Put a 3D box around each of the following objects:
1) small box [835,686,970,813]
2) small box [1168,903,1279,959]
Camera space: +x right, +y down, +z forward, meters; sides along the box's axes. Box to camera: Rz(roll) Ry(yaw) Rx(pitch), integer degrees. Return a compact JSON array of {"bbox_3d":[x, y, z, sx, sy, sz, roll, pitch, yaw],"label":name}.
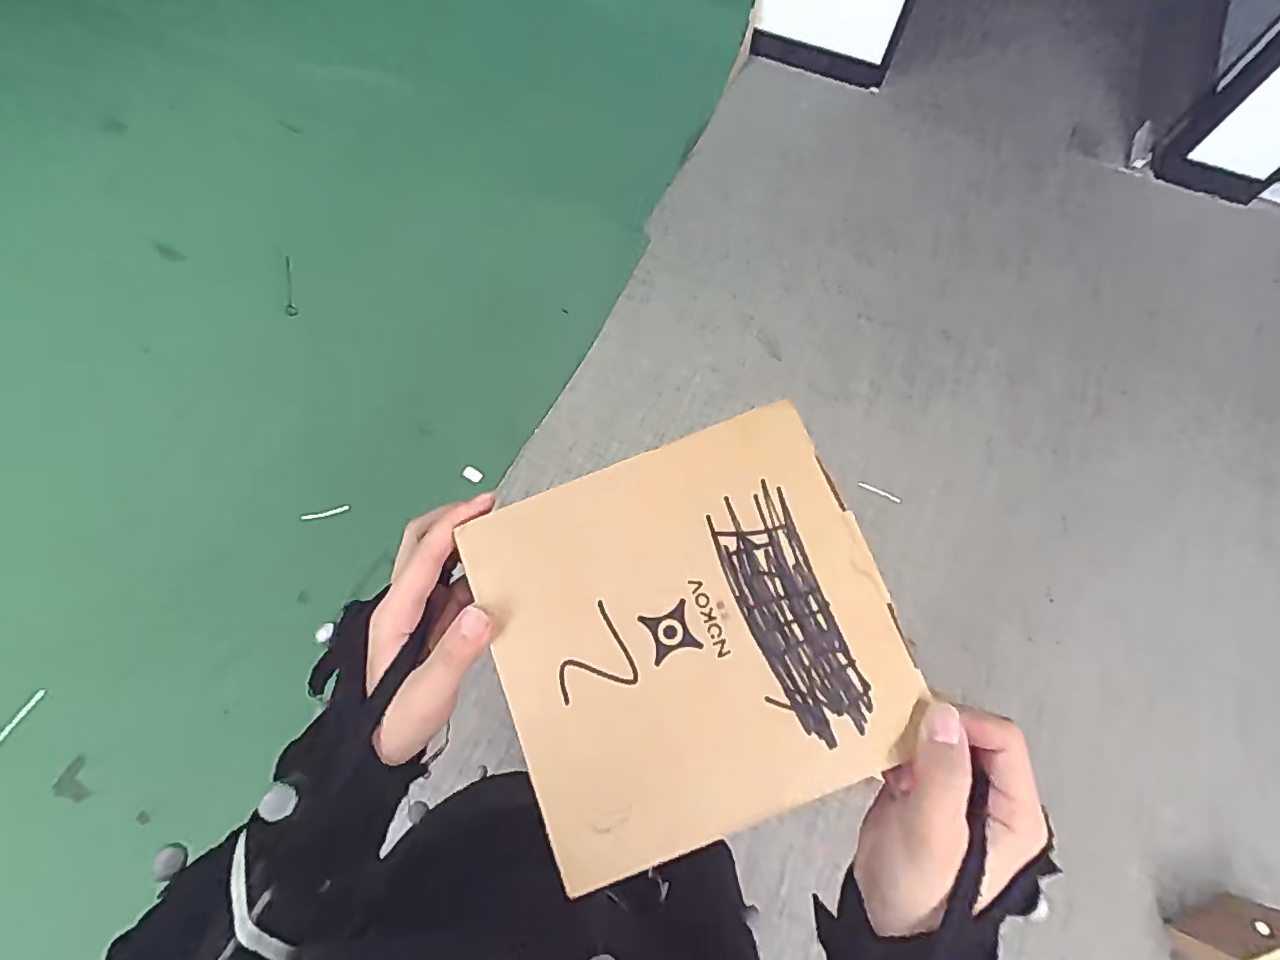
[{"bbox_3d":[0.519,0.534,1.091,0.179,0.176,0.168,23,71,7],"label":"small box"},{"bbox_3d":[1.124,0.895,0.959,0.179,0.176,0.168,-16,69,-5],"label":"small box"}]
